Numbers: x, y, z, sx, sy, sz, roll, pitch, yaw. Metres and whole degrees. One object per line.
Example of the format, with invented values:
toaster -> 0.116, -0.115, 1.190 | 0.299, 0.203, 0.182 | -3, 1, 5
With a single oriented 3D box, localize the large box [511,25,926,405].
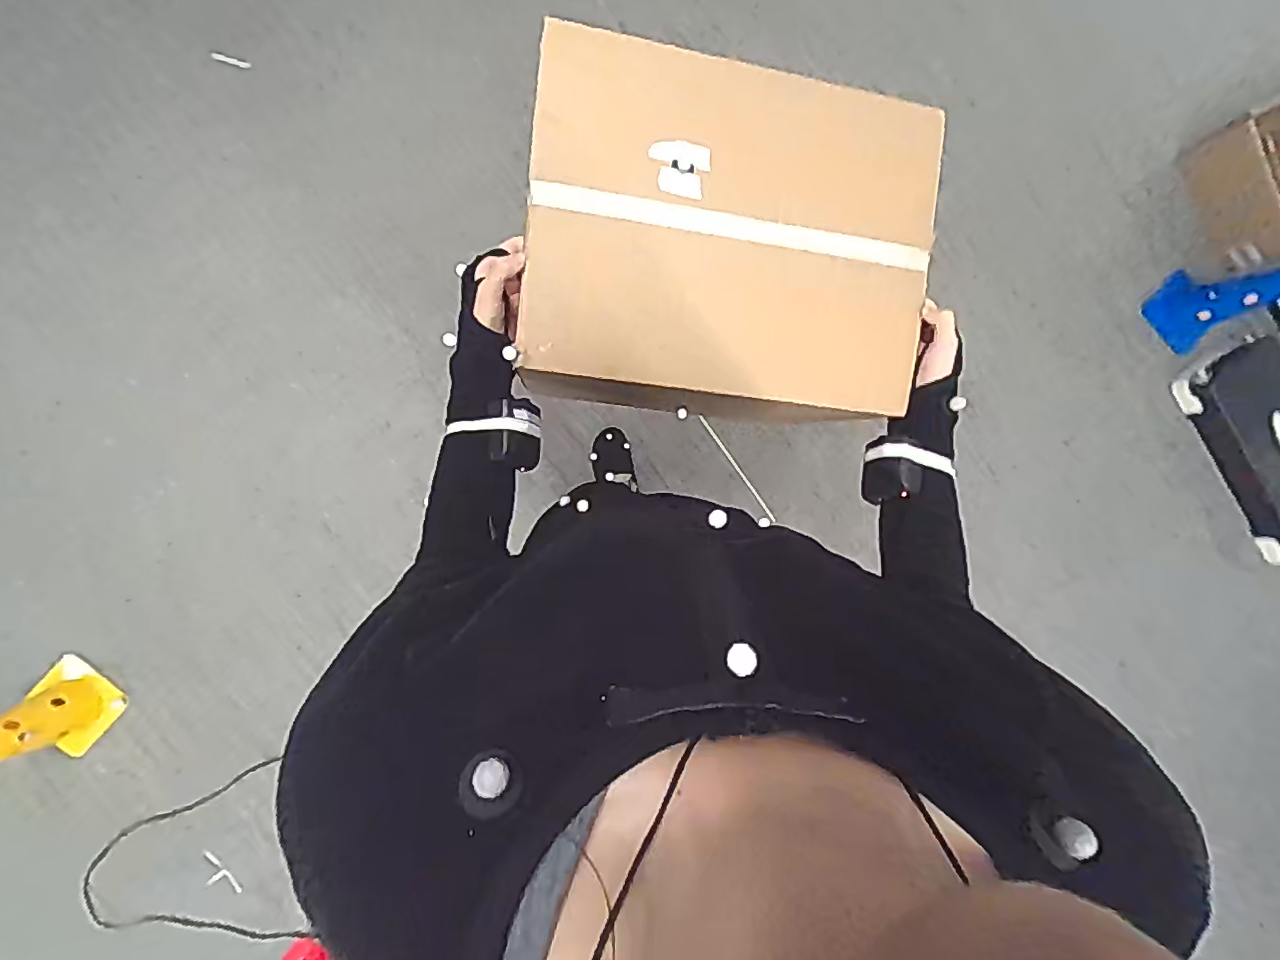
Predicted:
large box -> 0.065, -0.266, 0.678 | 0.408, 0.320, 0.320 | 5, 94, -8
